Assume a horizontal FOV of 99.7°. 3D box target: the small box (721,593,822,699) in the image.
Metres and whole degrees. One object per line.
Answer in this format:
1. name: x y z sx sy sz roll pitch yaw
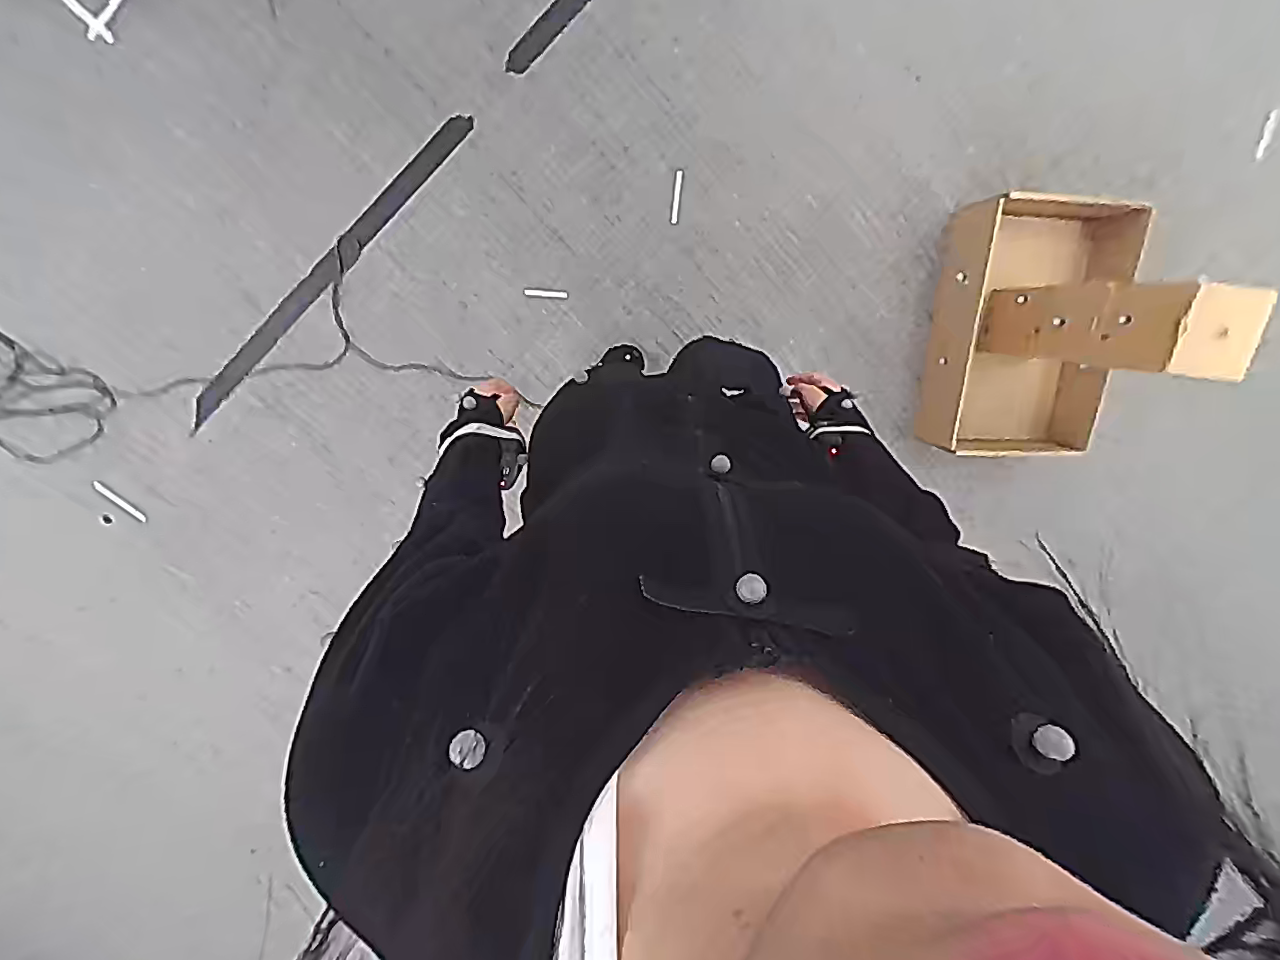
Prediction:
1. small box: 0.296 0.380 1.259 0.168 0.176 0.179 6 106 -8

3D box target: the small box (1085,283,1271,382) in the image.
1. small box: 1.058 -0.296 1.080 0.179 0.176 0.168 3 107 -8

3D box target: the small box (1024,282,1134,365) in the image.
1. small box: 1.031 -0.350 1.232 0.179 0.176 0.168 5 107 -8
